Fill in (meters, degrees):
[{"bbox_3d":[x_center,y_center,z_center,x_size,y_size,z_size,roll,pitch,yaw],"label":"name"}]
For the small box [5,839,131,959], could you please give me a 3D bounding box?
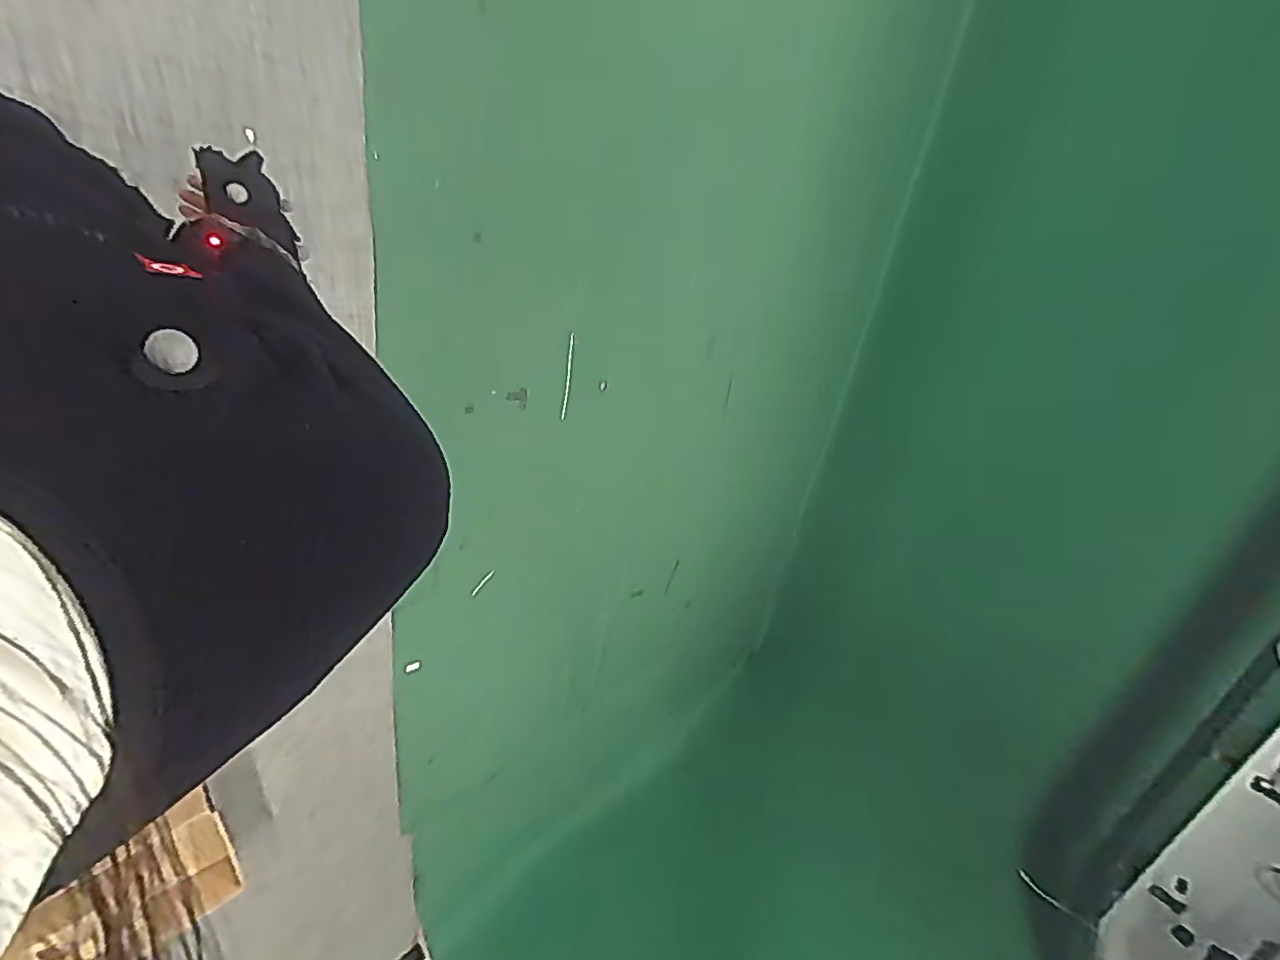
[{"bbox_3d":[-1.389,1.036,1.313,0.179,0.176,0.168,-21,130,-45],"label":"small box"}]
